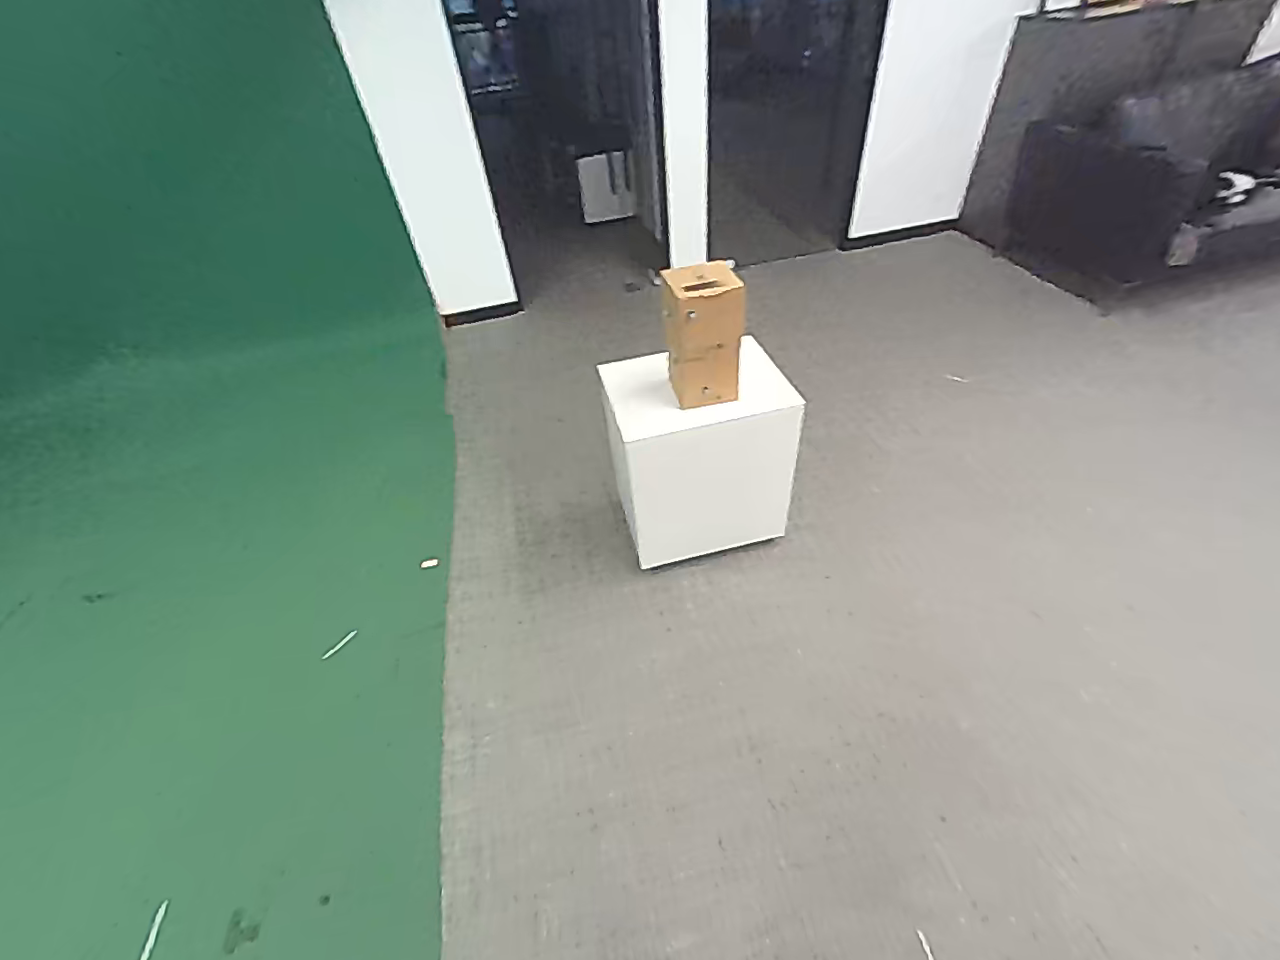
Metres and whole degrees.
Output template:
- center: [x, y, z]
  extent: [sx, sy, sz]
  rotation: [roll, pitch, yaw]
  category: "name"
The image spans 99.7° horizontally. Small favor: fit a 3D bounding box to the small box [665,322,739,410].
- center: [0.168, -0.317, 1.505]
  extent: [0.168, 0.176, 0.179]
  rotation: [-11, 43, -5]
  category: "small box"
